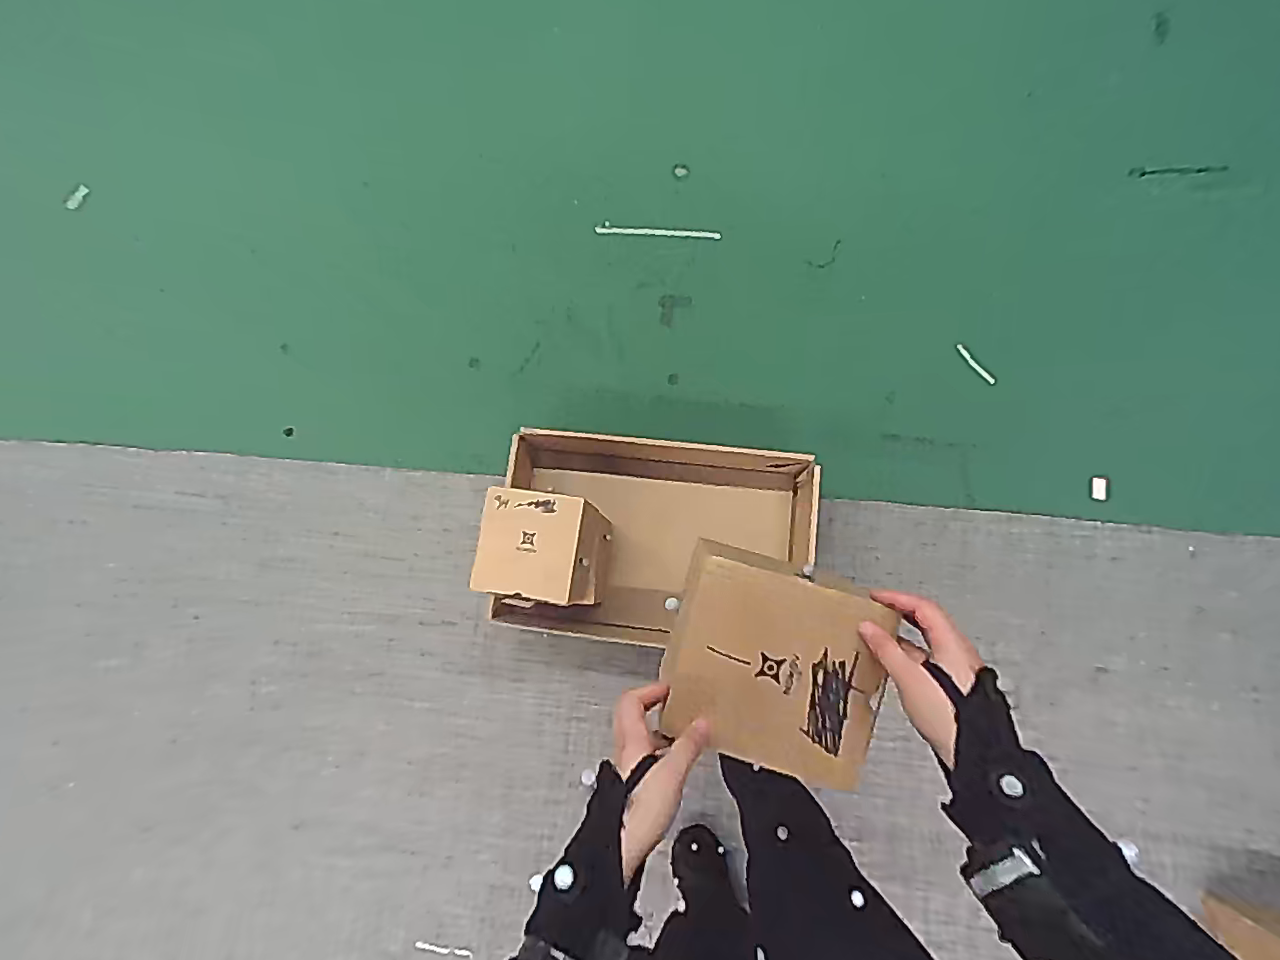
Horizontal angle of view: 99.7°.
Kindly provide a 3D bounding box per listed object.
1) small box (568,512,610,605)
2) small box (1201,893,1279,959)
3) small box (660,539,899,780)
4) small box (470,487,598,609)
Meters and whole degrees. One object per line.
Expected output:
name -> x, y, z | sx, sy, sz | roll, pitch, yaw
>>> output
small box -> -0.154, 0.156, 1.100 | 0.168, 0.176, 0.179 | 2, 82, 4
small box -> 1.157, 0.871, 0.948 | 0.179, 0.176, 0.168 | 9, 81, 5
small box -> 0.127, 0.164, 0.556 | 0.179, 0.176, 0.168 | 15, 90, 4
small box -> -0.174, 0.117, 0.941 | 0.168, 0.176, 0.179 | 7, 82, 5
